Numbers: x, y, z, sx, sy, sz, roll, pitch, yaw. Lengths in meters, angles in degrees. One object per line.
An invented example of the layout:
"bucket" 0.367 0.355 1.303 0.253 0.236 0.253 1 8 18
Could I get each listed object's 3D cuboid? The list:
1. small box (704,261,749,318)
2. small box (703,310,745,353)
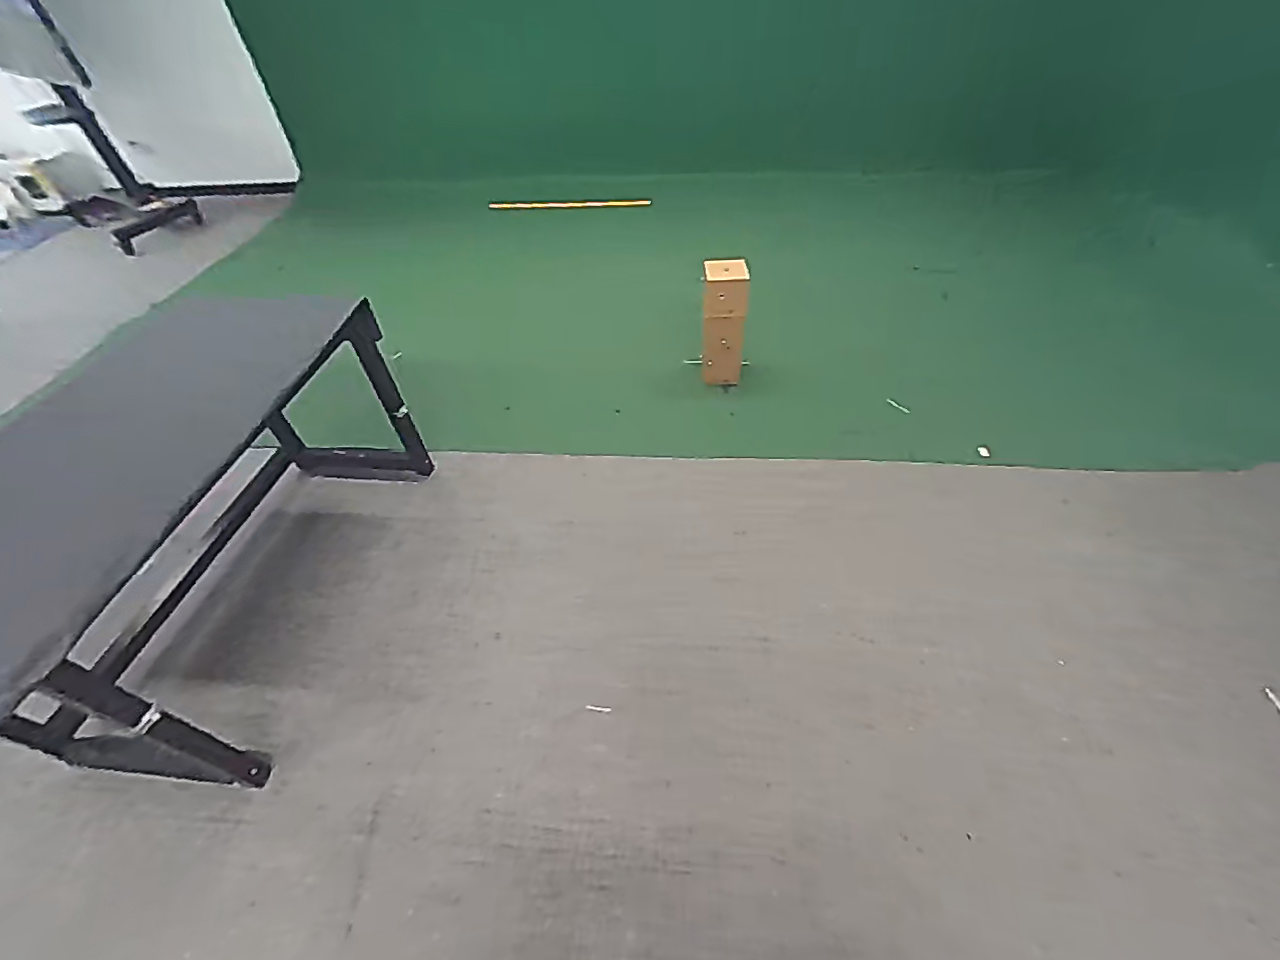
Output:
"small box" 0.351 -0.778 2.225 0.168 0.176 0.179 -2 45 2
"small box" 0.359 -0.668 2.343 0.168 0.176 0.179 -1 46 4
